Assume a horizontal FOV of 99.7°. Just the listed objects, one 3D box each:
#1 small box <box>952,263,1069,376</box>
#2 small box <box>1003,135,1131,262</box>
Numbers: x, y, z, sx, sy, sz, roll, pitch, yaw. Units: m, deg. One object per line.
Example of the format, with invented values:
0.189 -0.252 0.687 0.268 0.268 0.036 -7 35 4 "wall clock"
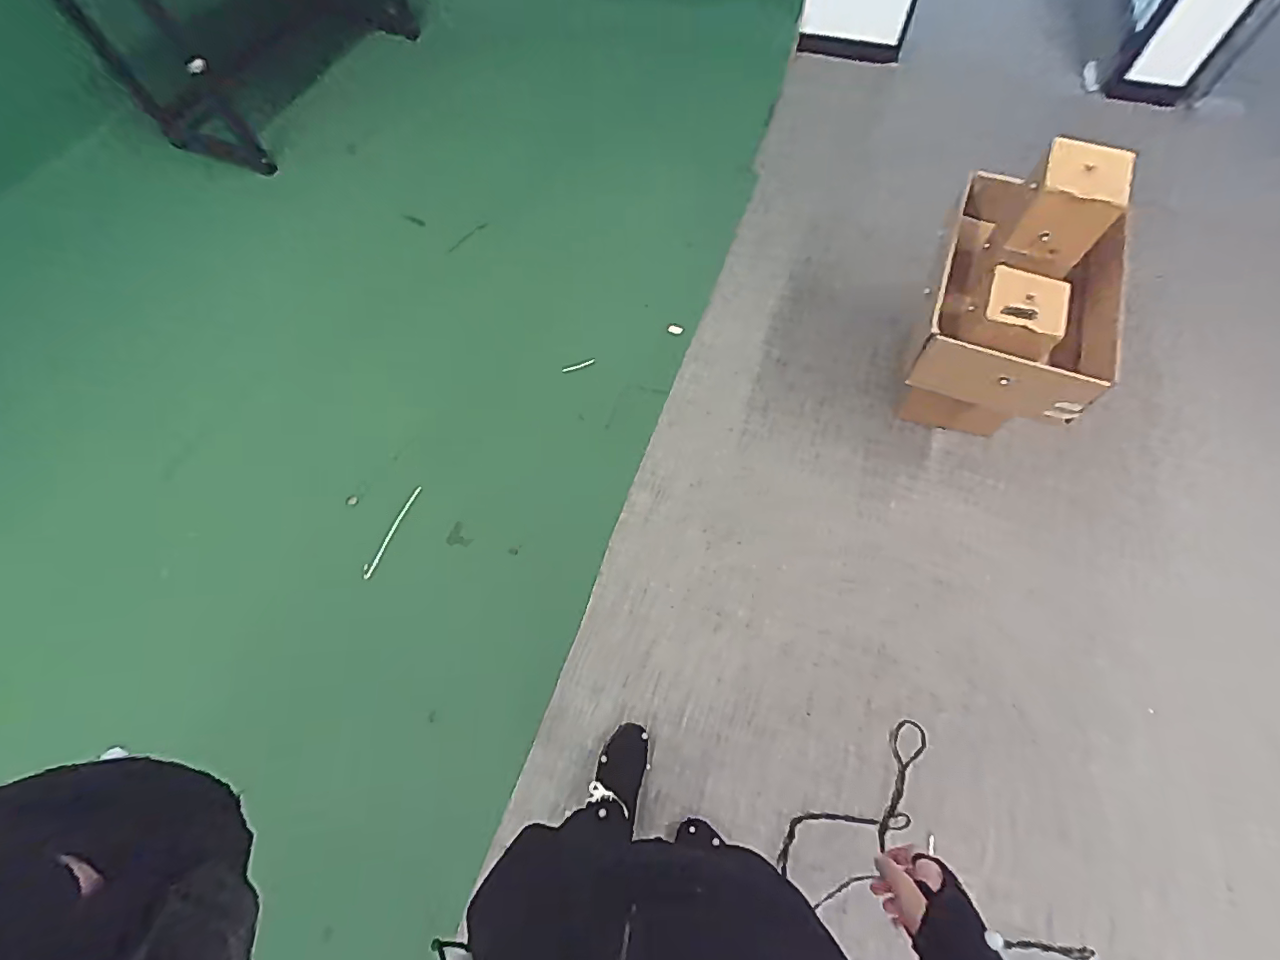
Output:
0.885 -0.380 1.306 0.168 0.176 0.179 21 67 11 "small box"
0.976 -0.645 1.248 0.168 0.176 0.179 20 70 11 "small box"
